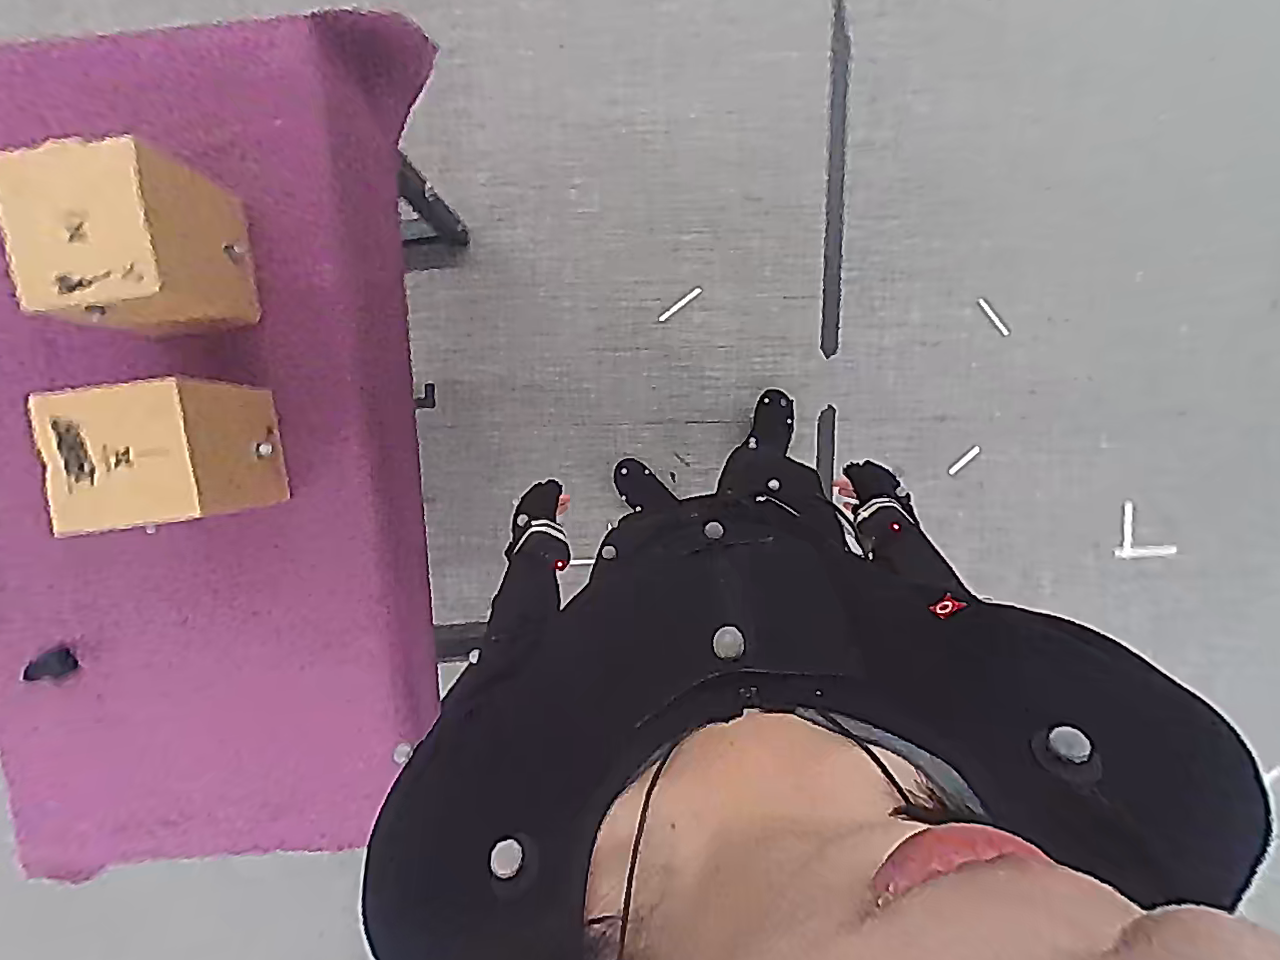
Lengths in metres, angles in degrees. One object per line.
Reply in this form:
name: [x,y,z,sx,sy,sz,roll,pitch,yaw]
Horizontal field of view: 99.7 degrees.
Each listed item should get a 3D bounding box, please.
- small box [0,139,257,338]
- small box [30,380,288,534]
small box: [-0.633,-0.292,0.688,0.168,0.176,0.179,-7,94,1]
small box: [-0.609,-0.030,0.708,0.179,0.176,0.168,-7,95,1]
